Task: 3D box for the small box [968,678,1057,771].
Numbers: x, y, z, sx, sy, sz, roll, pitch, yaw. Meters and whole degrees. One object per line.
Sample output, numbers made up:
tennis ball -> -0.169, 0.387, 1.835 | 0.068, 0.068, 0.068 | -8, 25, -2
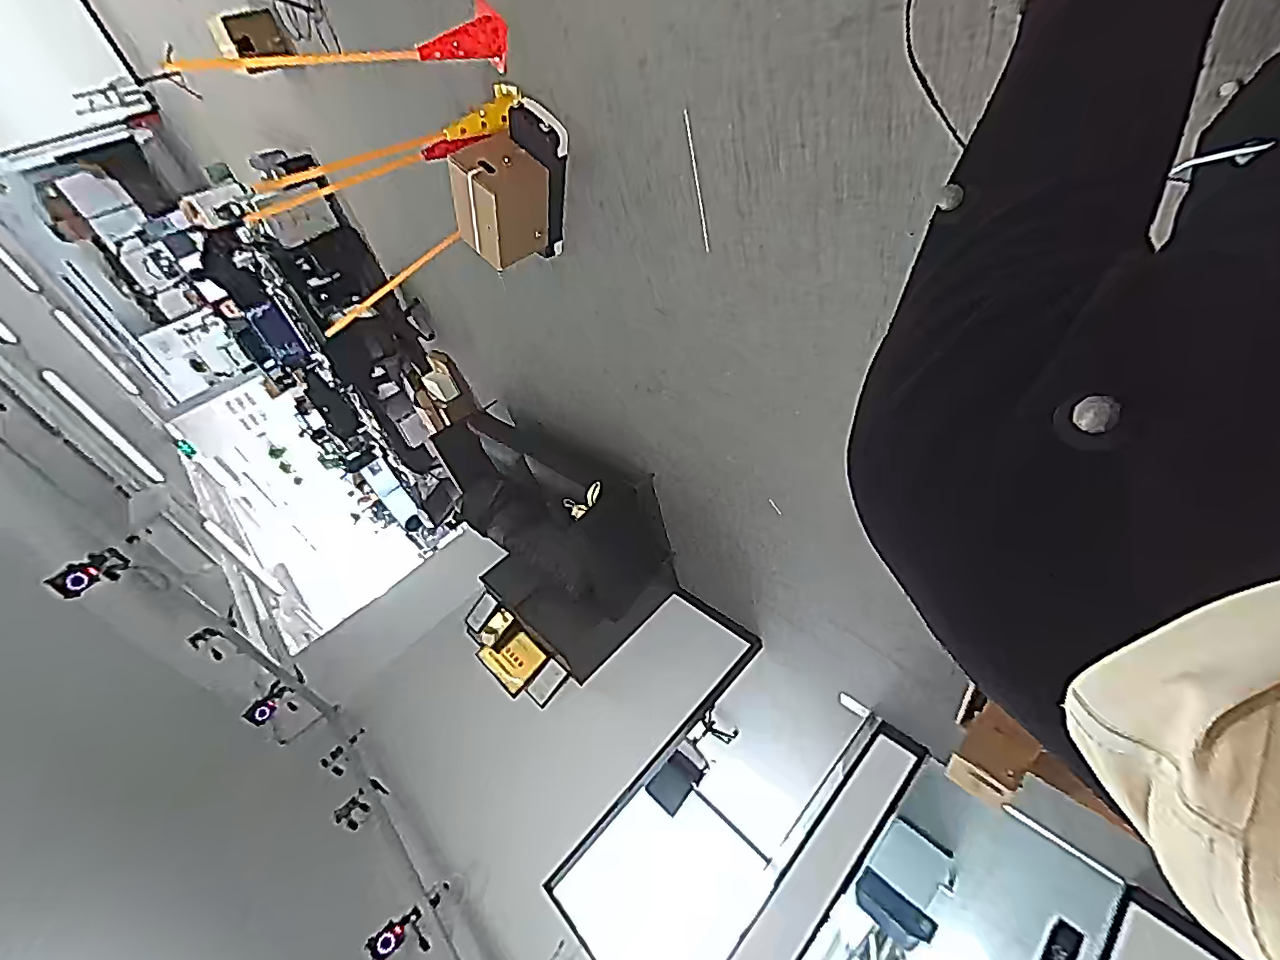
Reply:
small box -> 1.174, 0.767, 1.705 | 0.168, 0.176, 0.179 | 30, 147, 39
